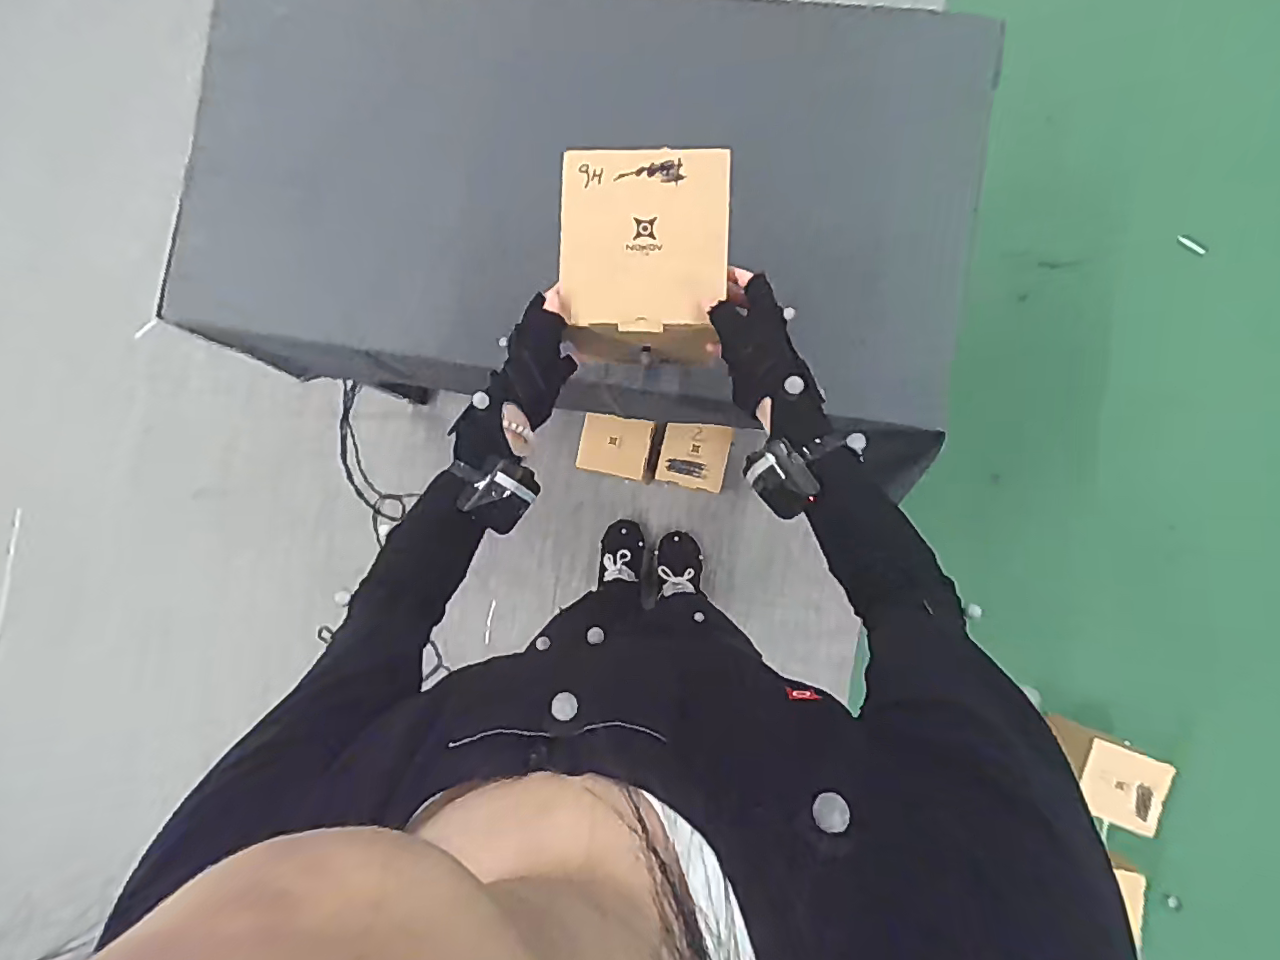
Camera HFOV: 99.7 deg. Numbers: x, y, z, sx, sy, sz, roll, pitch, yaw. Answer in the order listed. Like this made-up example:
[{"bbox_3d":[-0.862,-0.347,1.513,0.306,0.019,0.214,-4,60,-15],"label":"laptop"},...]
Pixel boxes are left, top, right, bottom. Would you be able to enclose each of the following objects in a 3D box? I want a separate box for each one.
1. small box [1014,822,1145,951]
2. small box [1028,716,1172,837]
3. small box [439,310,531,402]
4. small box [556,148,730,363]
[{"bbox_3d":[1.018,0.940,1.269,0.179,0.176,0.168,7,88,5],"label":"small box"},{"bbox_3d":[1.078,0.689,1.282,0.179,0.176,0.168,20,87,7],"label":"small box"},{"bbox_3d":[-0.408,-0.329,1.460,0.168,0.176,0.179,17,87,6],"label":"small box"},{"bbox_3d":[0.007,-0.229,0.594,0.168,0.176,0.179,1,90,3],"label":"small box"}]
